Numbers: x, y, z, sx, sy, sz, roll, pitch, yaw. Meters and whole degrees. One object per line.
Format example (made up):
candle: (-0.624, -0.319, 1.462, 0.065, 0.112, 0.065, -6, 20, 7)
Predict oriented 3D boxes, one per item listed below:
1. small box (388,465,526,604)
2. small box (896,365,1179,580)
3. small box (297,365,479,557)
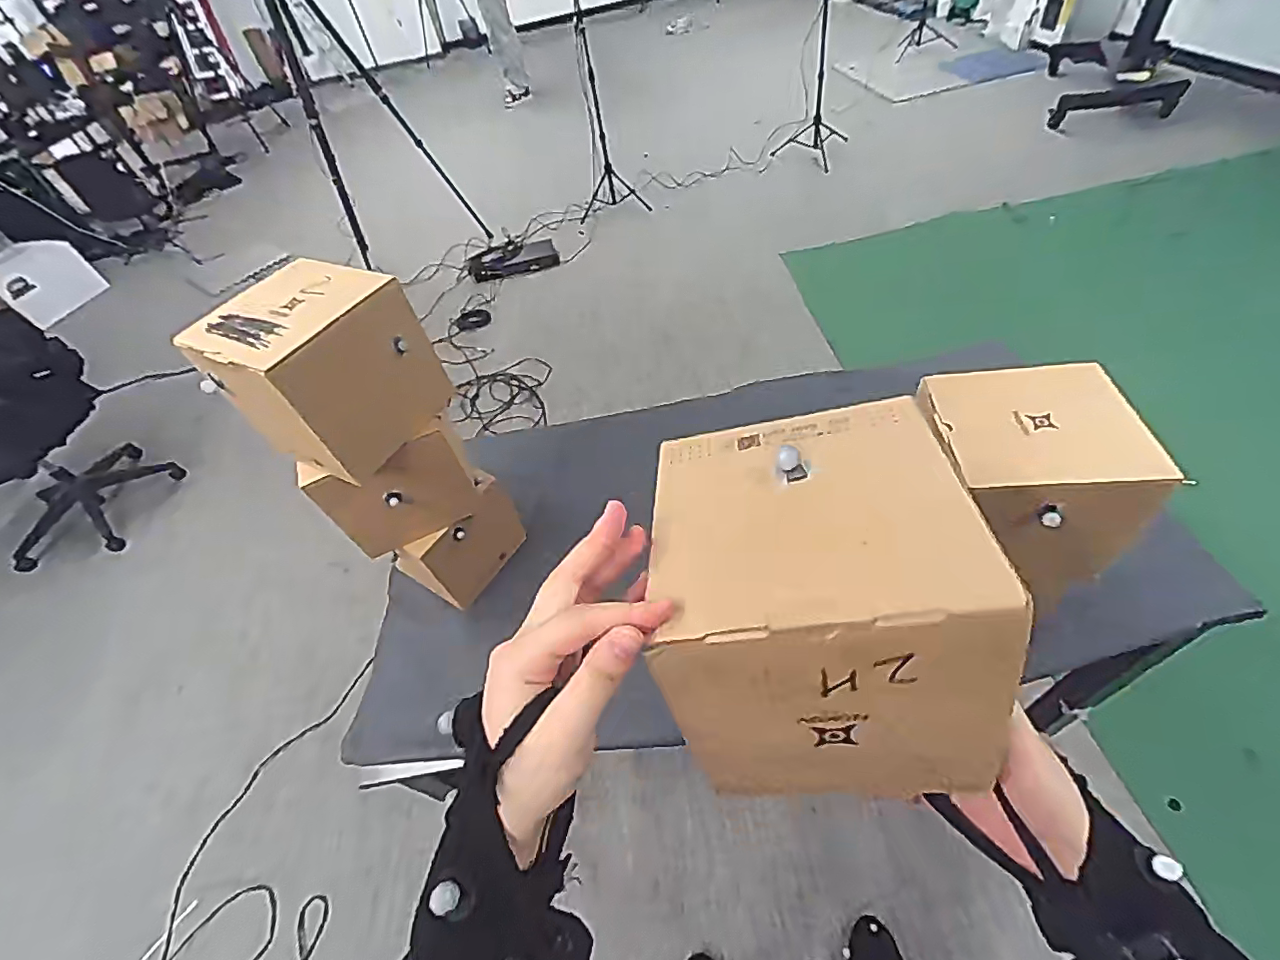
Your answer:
small box: (-0.321, 0.077, 0.892, 0.179, 0.176, 0.168, 22, 58, 27)
small box: (0.402, -0.002, 0.591, 0.179, 0.176, 0.168, -4, 49, 11)
small box: (-0.346, -0.024, 0.765, 0.179, 0.176, 0.168, -26, 51, -10)
